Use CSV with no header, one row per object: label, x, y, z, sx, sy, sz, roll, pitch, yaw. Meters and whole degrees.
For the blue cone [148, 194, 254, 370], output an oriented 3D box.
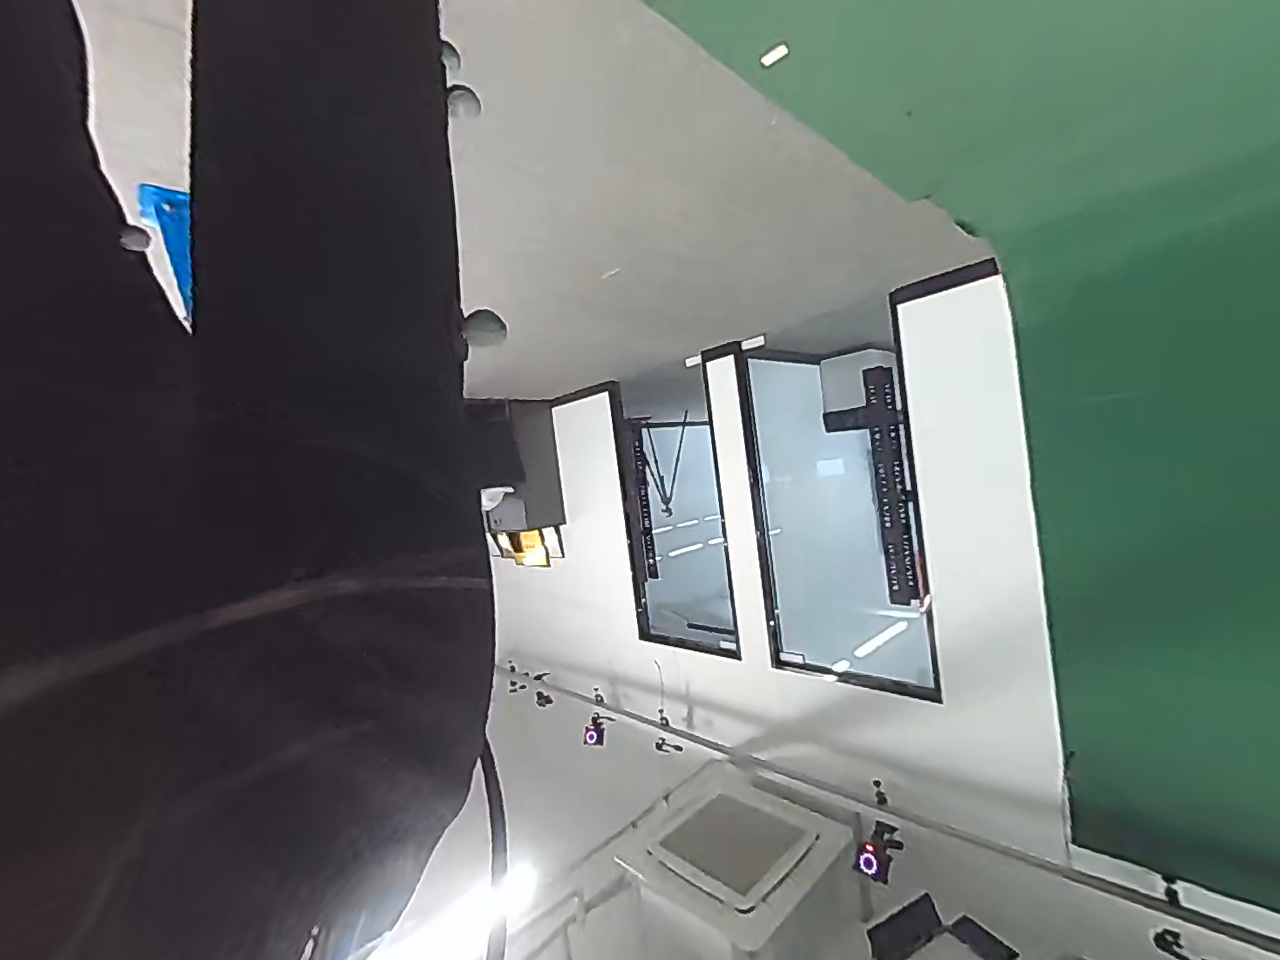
blue cone,-1.008,-0.450,1.271,0.192,0.380,0.193,-8,-179,-44
